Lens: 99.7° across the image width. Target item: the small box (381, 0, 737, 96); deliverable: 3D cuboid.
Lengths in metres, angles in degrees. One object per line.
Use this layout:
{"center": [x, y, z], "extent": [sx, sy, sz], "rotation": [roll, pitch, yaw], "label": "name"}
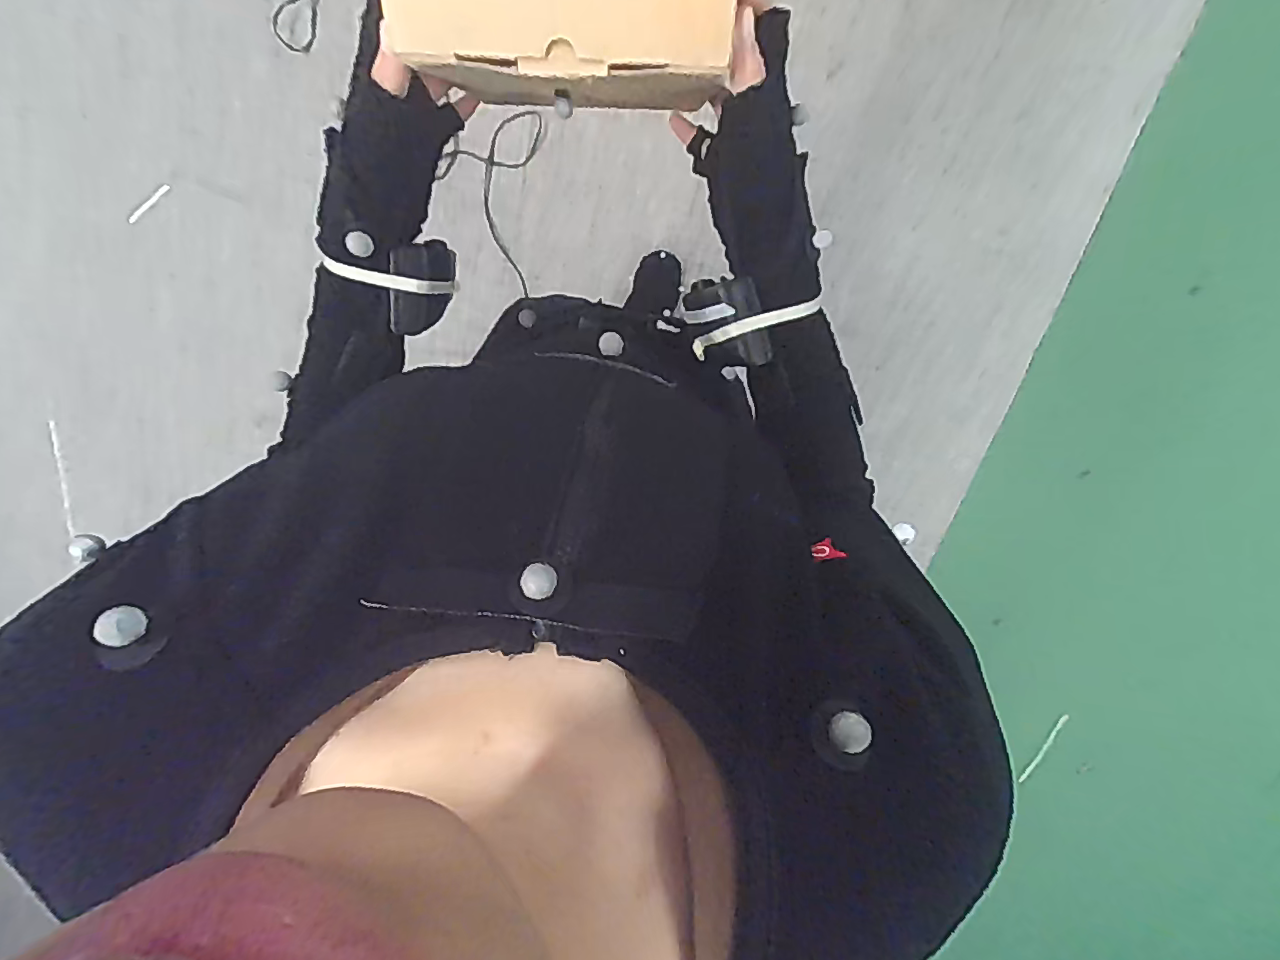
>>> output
{"center": [-0.035, -0.321, 0.283], "extent": [0.168, 0.176, 0.179], "rotation": [2, 120, 0], "label": "small box"}
